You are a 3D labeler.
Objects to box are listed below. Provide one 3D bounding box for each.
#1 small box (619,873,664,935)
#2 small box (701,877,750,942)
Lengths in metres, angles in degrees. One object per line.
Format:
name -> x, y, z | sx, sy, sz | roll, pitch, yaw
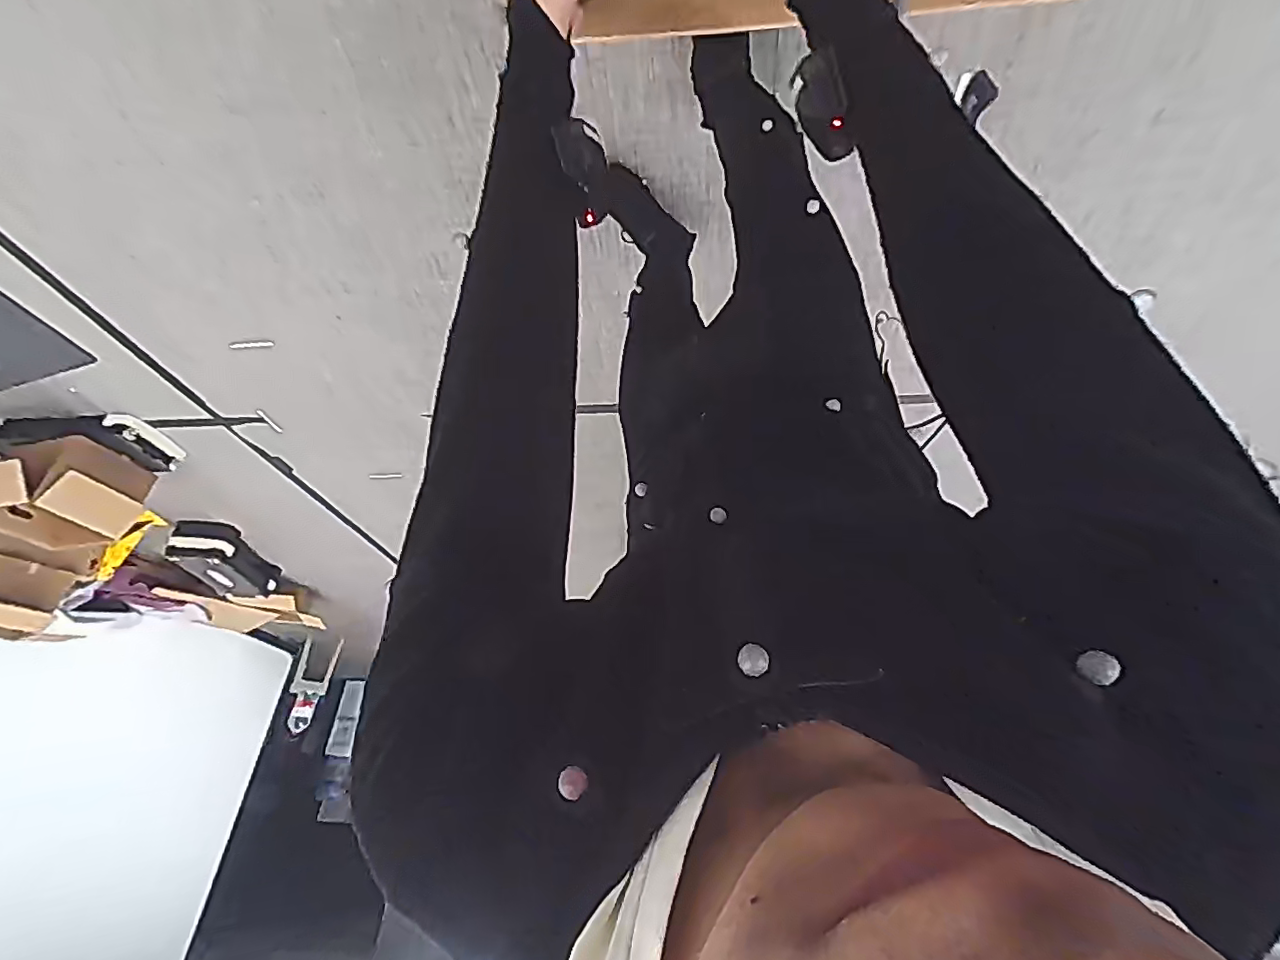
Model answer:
small box -> 0.009, 1.615, 2.068 | 0.168, 0.176, 0.179 | 0, 149, 2
small box -> 0.315, 1.602, 2.028 | 0.168, 0.176, 0.179 | -1, 149, 4
